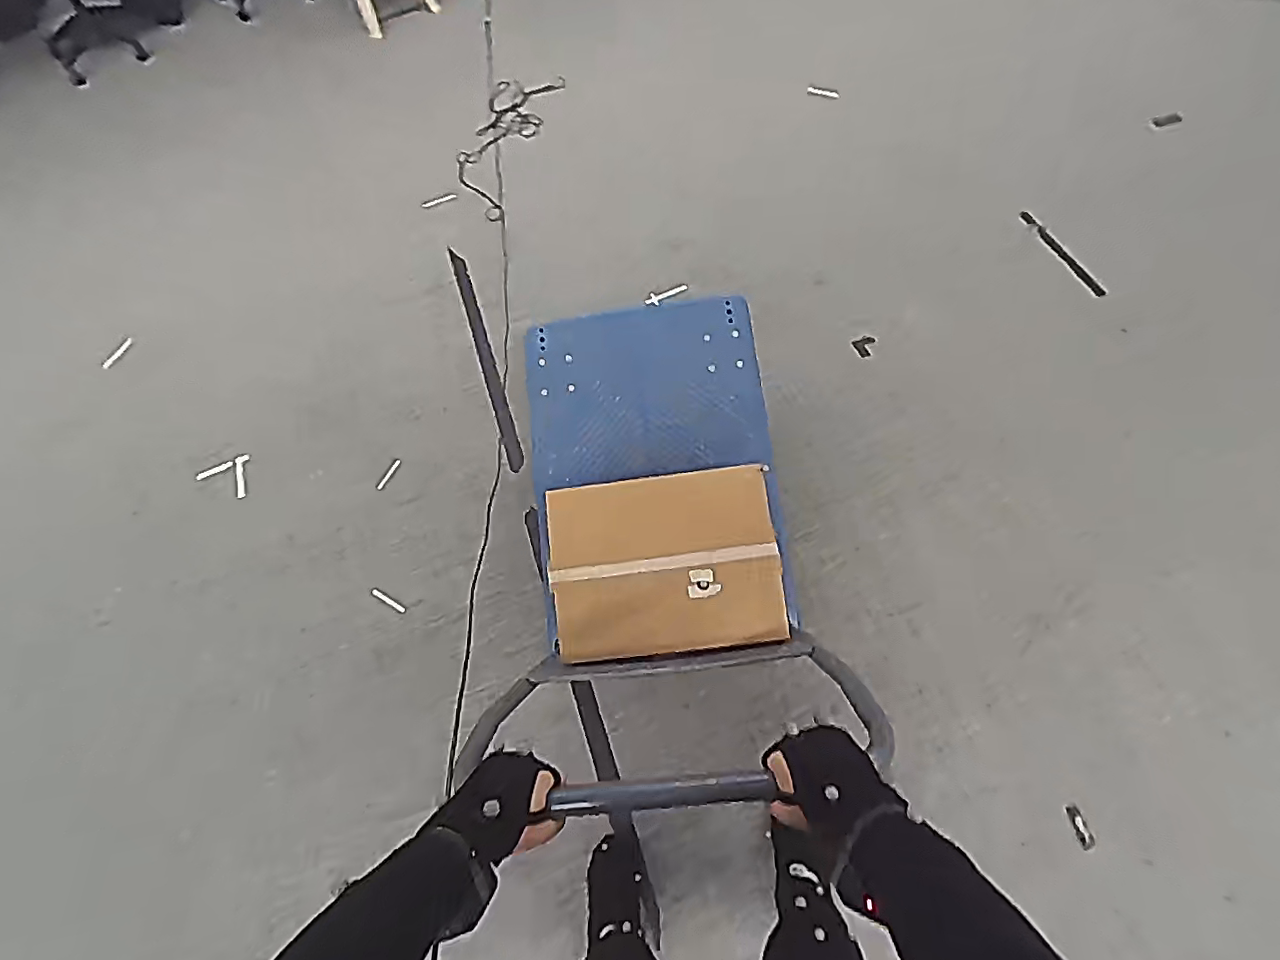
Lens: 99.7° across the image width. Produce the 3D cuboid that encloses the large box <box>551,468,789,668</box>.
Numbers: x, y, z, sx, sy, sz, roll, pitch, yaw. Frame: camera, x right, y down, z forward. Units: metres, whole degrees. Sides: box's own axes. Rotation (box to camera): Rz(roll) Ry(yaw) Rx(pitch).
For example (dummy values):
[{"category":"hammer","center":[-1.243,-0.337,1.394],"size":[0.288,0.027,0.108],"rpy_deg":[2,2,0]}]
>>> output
[{"category":"large box","center":[0.056,0.184,1.130],"size":[0.408,0.320,0.320],"rpy_deg":[-8,80,3]}]
